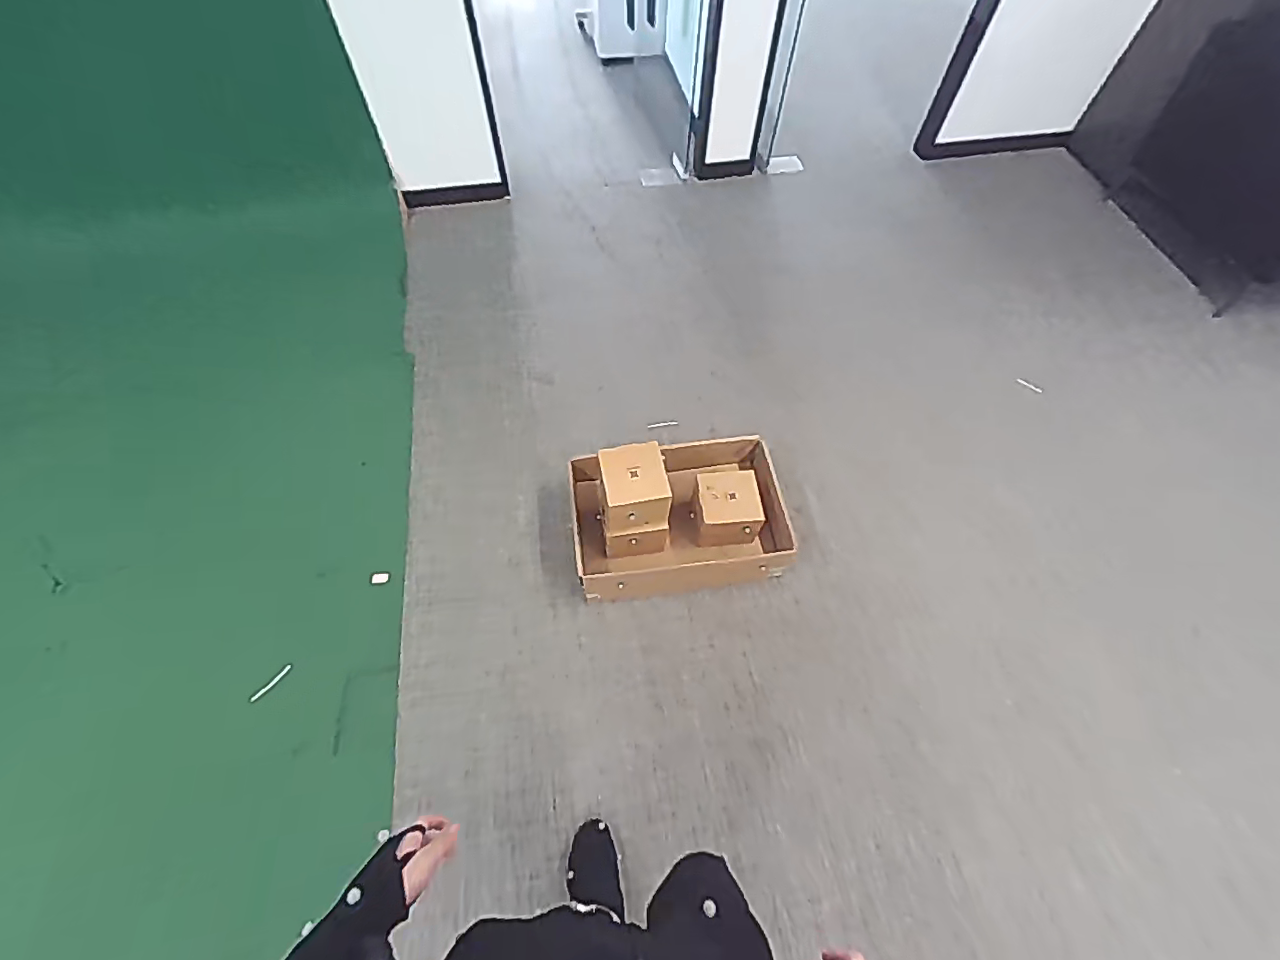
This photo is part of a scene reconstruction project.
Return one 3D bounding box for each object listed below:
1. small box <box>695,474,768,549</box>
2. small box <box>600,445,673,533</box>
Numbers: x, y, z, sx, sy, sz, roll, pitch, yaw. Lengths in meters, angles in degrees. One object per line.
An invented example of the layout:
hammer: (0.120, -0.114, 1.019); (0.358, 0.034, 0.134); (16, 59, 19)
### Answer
small box: (0.266, 0.096, 1.615); (0.179, 0.176, 0.168); (-5, 60, -2)
small box: (-0.011, 0.031, 1.463); (0.168, 0.176, 0.179); (-10, 60, -7)
